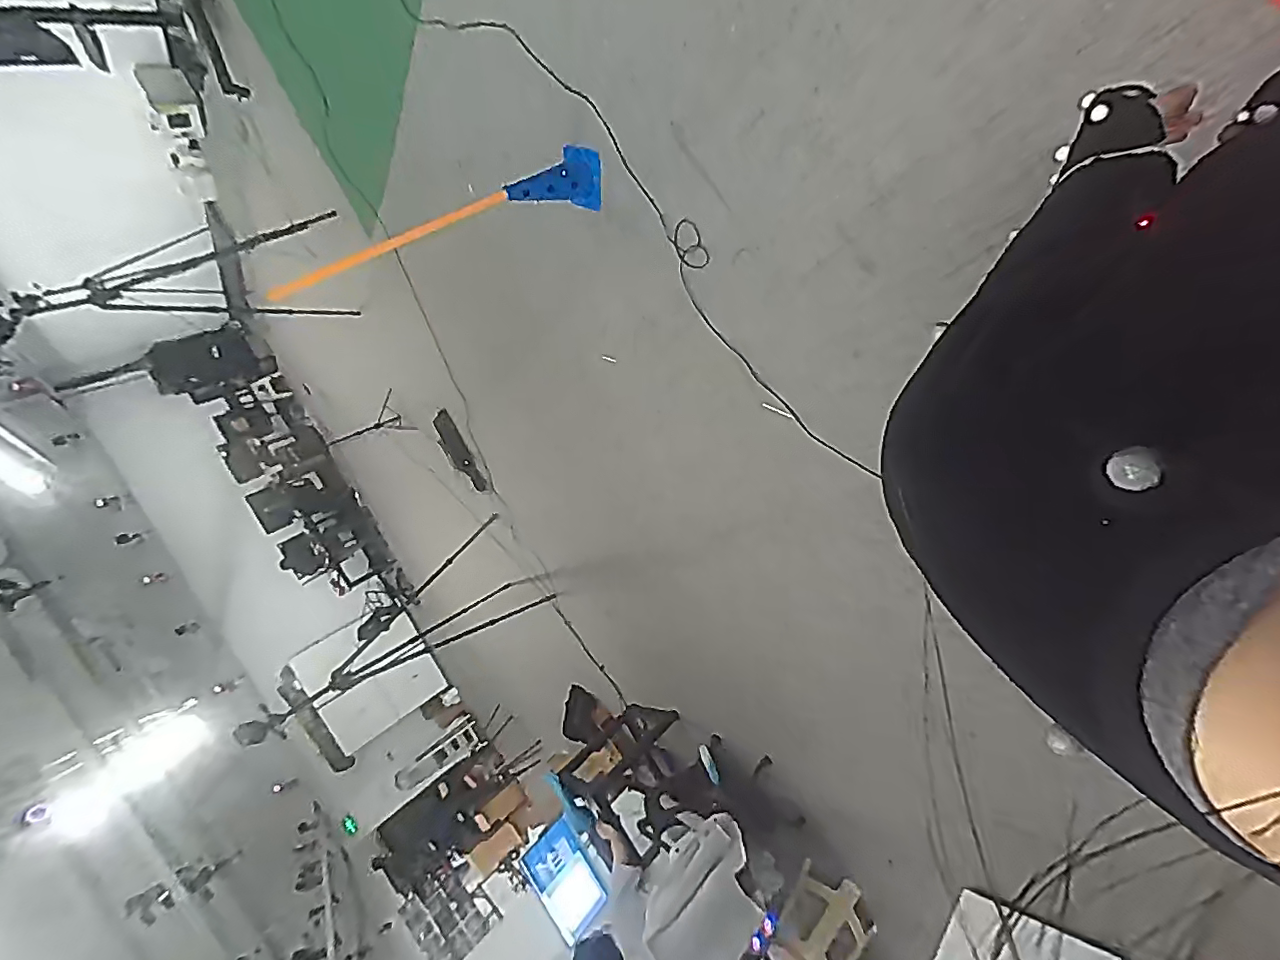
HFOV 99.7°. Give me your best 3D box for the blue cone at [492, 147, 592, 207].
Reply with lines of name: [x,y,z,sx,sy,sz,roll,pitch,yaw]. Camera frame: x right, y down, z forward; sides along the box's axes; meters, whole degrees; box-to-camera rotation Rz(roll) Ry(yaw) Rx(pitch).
blue cone: [-0.358,-1.060,1.939,0.192,0.380,0.193,31,139,31]
